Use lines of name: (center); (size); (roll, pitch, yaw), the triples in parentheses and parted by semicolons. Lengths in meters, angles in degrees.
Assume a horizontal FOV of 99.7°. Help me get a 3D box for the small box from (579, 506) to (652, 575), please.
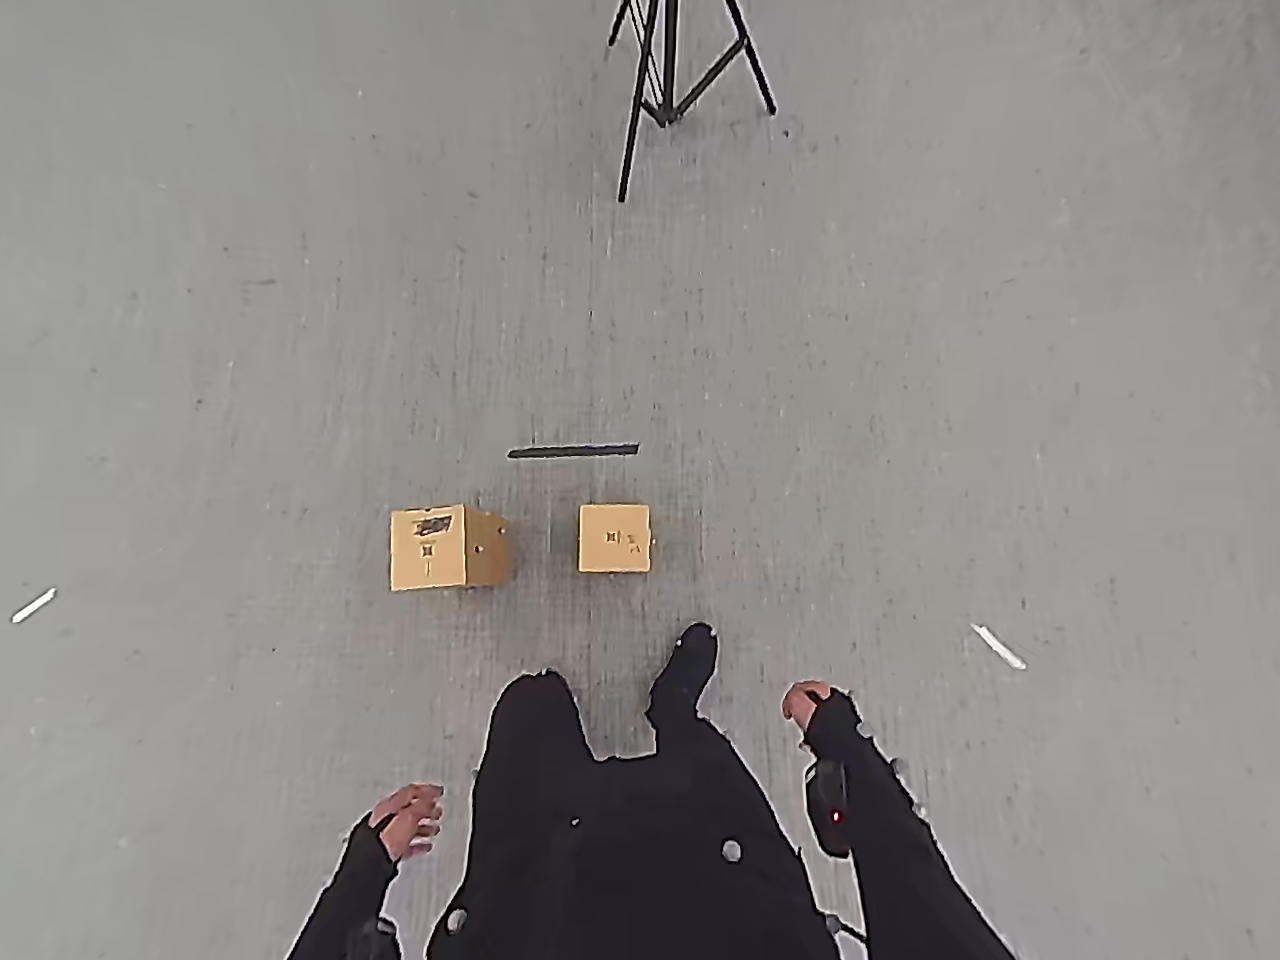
small box: (-0.059, 0.163, 1.410); (0.179, 0.176, 0.168); (1, 79, 1)

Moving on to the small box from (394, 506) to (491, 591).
small box: (-0.451, 0.164, 1.253); (0.168, 0.176, 0.179); (-5, 79, 1)

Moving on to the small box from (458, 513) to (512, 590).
small box: (-0.439, 0.191, 1.414); (0.168, 0.176, 0.179); (-7, 79, 1)
